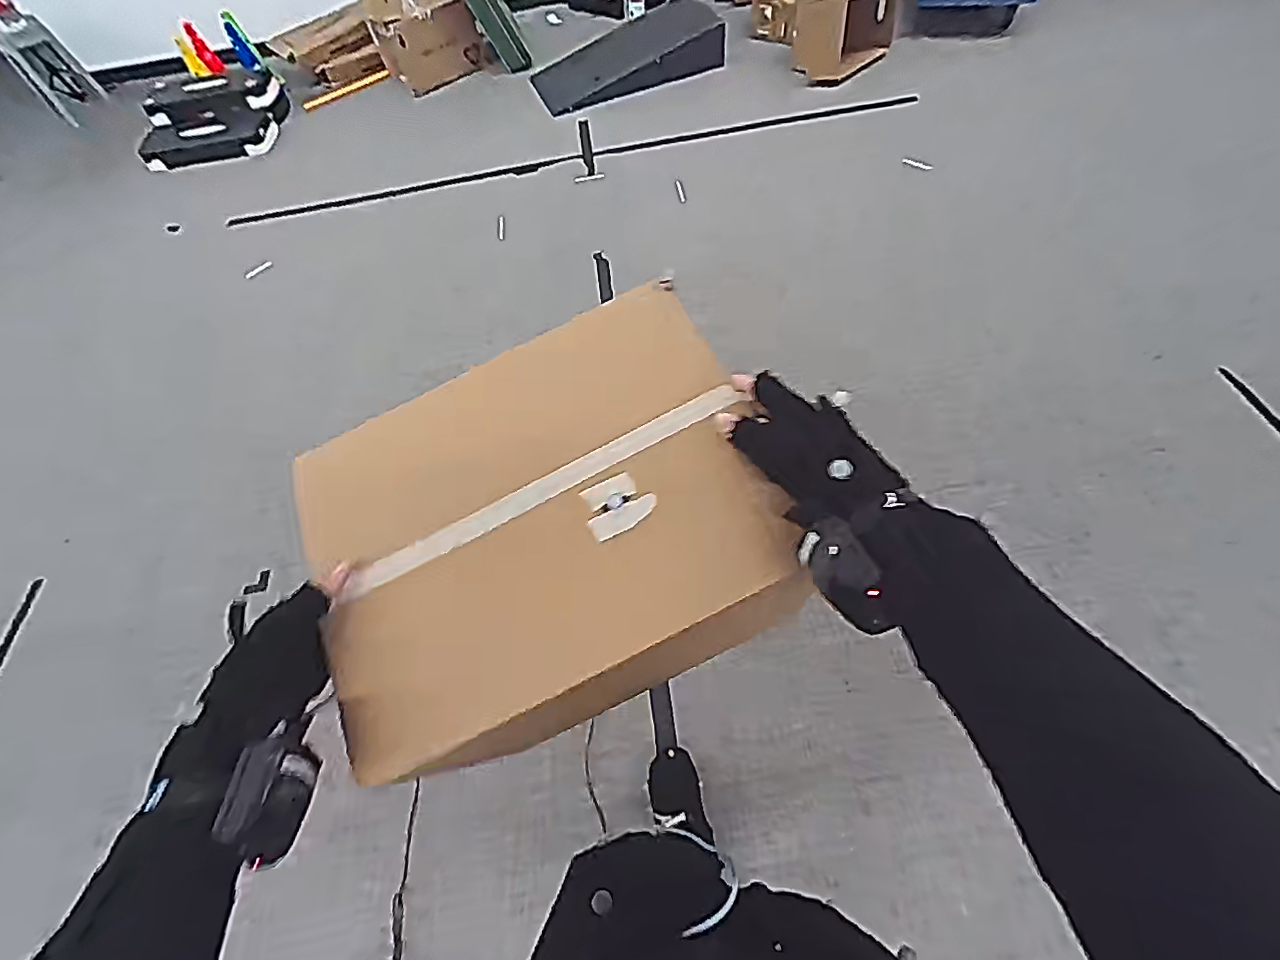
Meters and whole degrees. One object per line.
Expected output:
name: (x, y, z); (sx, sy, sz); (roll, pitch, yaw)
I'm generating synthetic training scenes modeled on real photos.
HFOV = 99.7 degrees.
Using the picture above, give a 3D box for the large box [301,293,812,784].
large box: (-0.076, 0.078, 0.620); (0.408, 0.320, 0.320); (-28, 67, -2)
